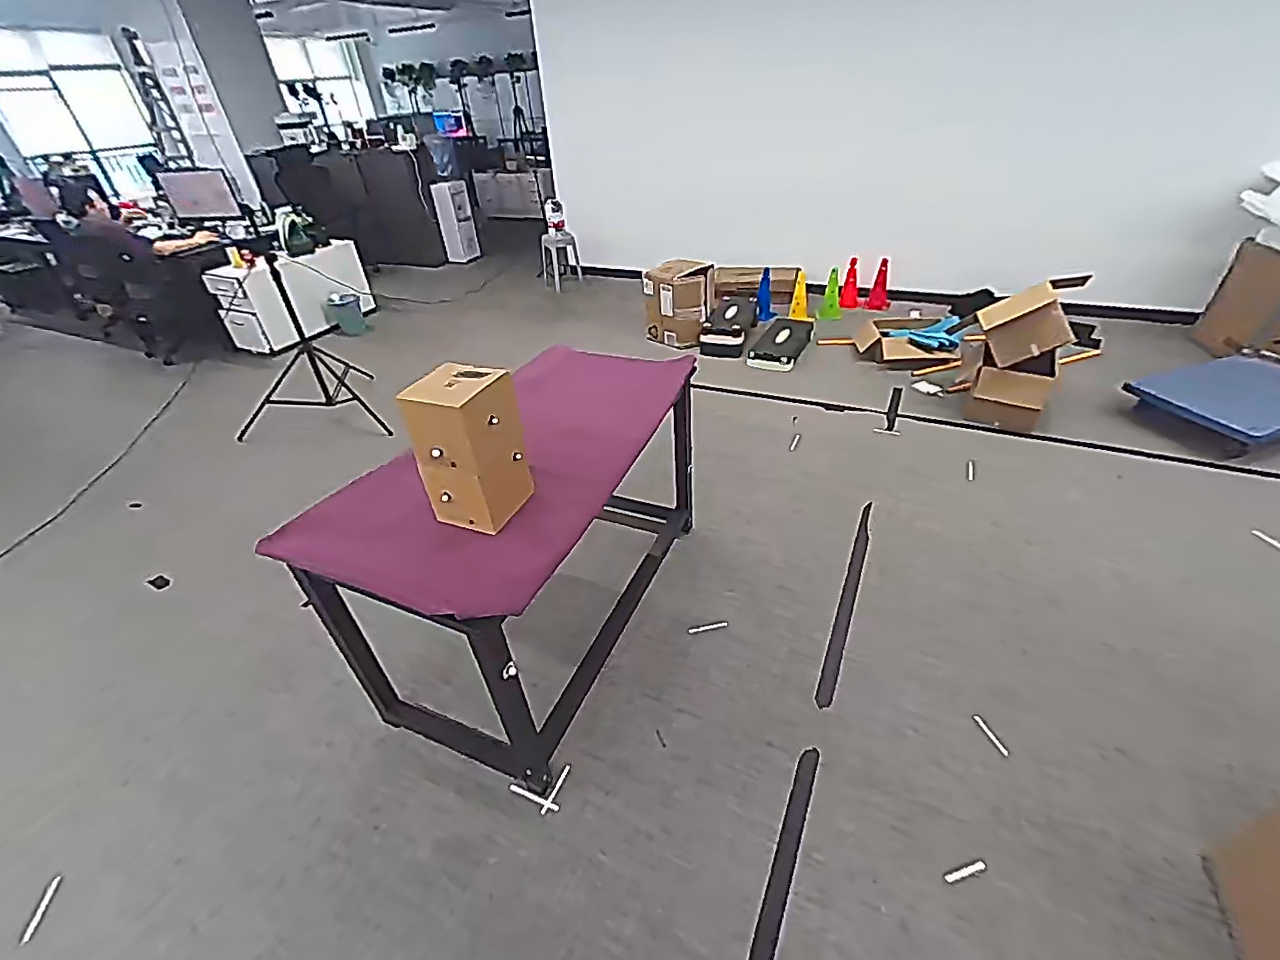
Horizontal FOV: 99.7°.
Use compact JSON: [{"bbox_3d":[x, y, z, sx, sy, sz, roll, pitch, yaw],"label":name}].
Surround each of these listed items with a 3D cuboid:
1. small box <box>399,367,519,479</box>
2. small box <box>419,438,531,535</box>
[{"bbox_3d":[-0.380,-0.127,1.173,0.168,0.176,0.179,10,38,20],"label":"small box"},{"bbox_3d":[-0.375,0.006,1.269,0.168,0.176,0.179,10,38,19],"label":"small box"}]
